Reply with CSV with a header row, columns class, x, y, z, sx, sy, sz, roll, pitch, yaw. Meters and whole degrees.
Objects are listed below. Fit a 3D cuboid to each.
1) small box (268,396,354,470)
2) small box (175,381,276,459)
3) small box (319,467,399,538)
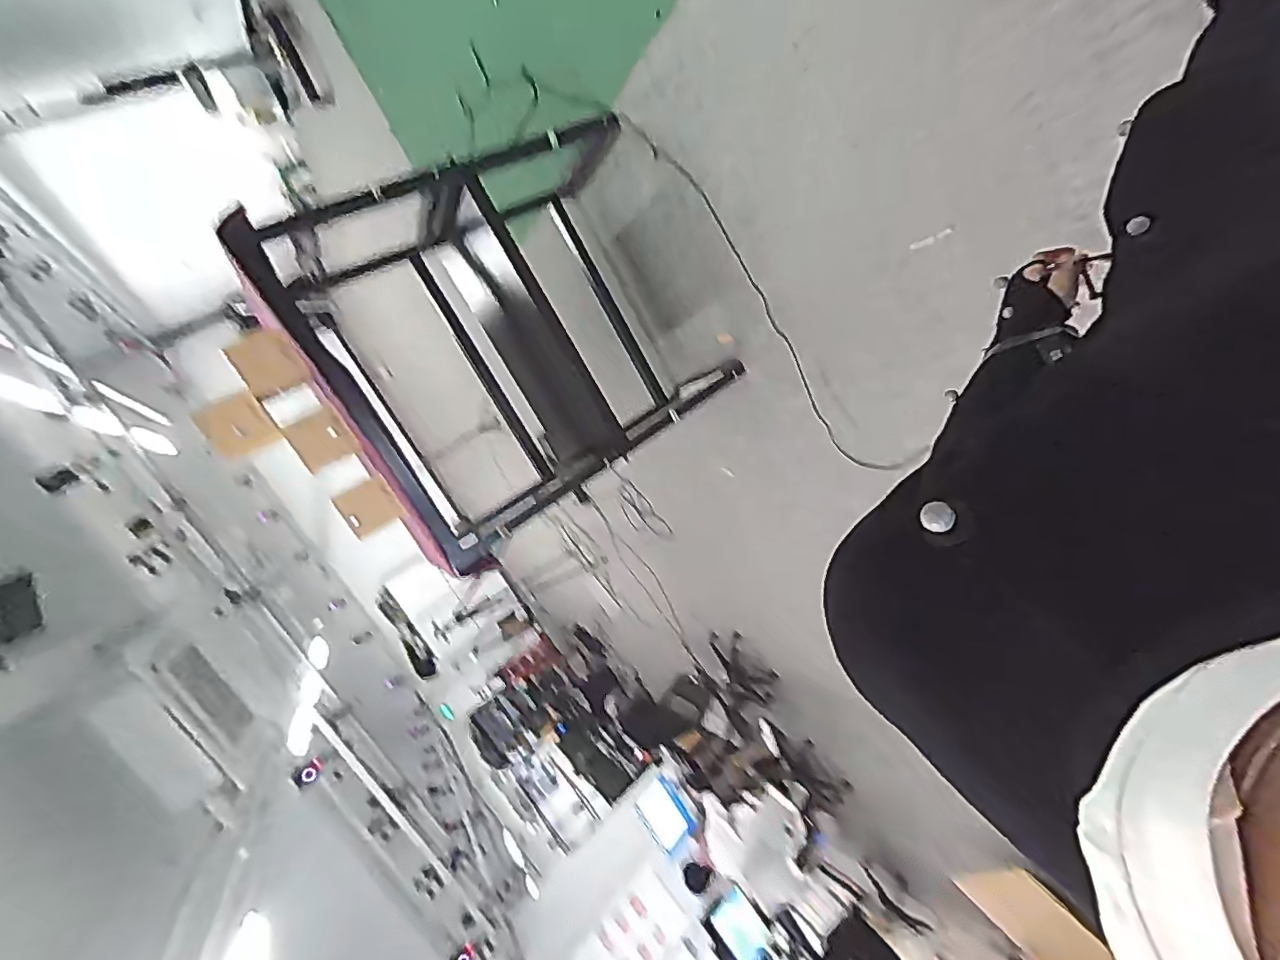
class,x,y,z,sx,sy,sz,roll,pitch,yaw
small box,-1.025,-0.145,1.699,0.168,0.176,0.179,61,154,-13
small box,-1.209,-0.176,1.599,0.168,0.176,0.179,61,155,-14
small box,-0.903,0.071,1.750,0.168,0.176,0.179,60,155,-12
